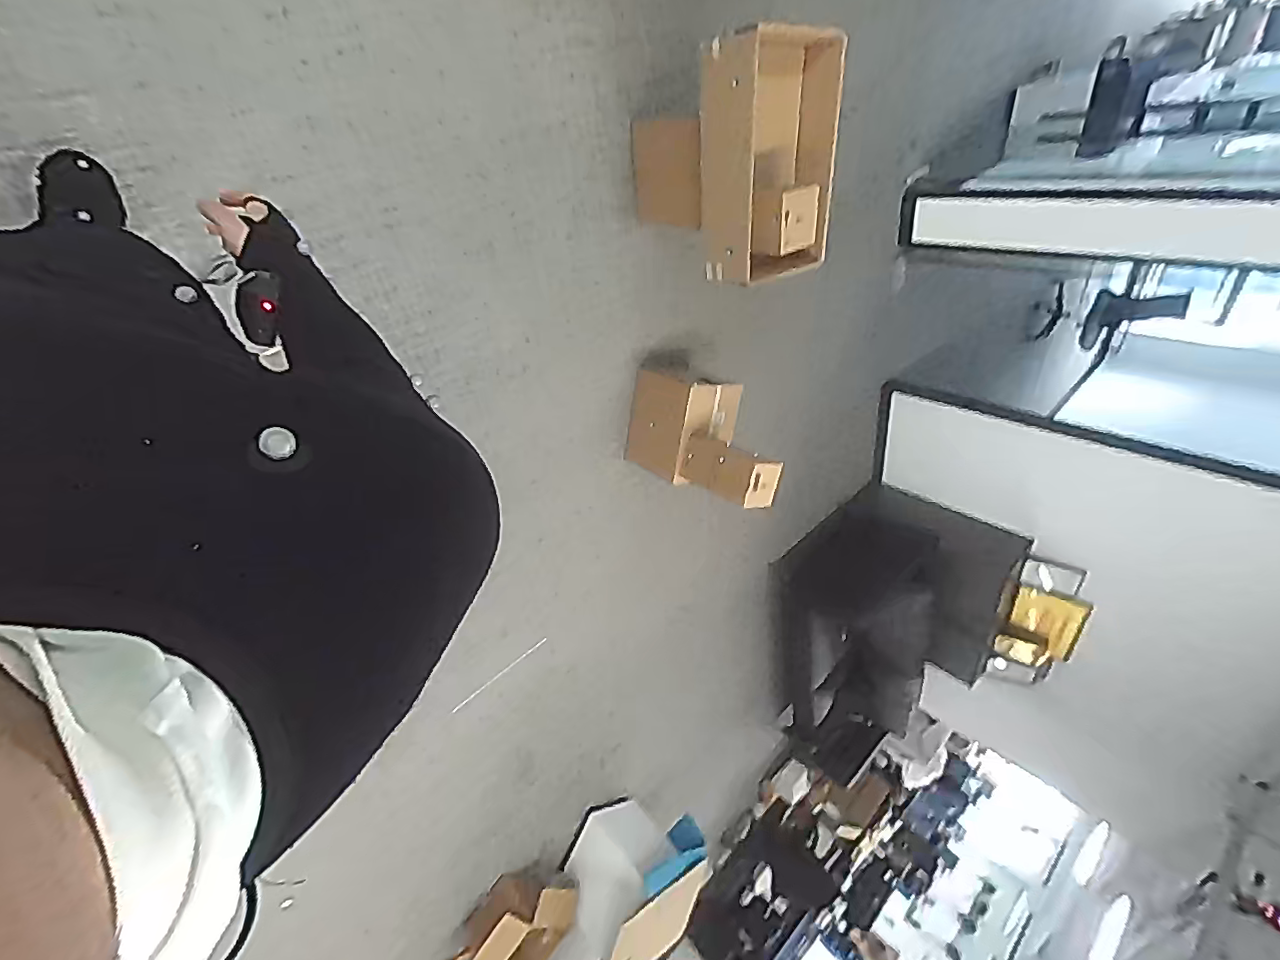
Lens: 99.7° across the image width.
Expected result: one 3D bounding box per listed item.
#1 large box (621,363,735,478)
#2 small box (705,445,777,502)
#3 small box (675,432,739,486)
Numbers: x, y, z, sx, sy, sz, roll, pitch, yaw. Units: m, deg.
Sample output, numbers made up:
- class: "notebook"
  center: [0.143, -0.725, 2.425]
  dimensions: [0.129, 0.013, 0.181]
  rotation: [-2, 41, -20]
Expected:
- class: "large box"
  center: [0.149, -0.261, 2.259]
  dimensions: [0.320, 0.320, 0.408]
  rotation: [-11, 118, -42]
- class: "small box"
  center: [0.367, -0.027, 1.988]
  dimensions: [0.179, 0.176, 0.168]
  rotation: [-2, 112, -44]
- class: "small box"
  center: [0.265, -0.084, 2.103]
  dimensions: [0.179, 0.176, 0.168]
  rotation: [-2, 112, -42]
